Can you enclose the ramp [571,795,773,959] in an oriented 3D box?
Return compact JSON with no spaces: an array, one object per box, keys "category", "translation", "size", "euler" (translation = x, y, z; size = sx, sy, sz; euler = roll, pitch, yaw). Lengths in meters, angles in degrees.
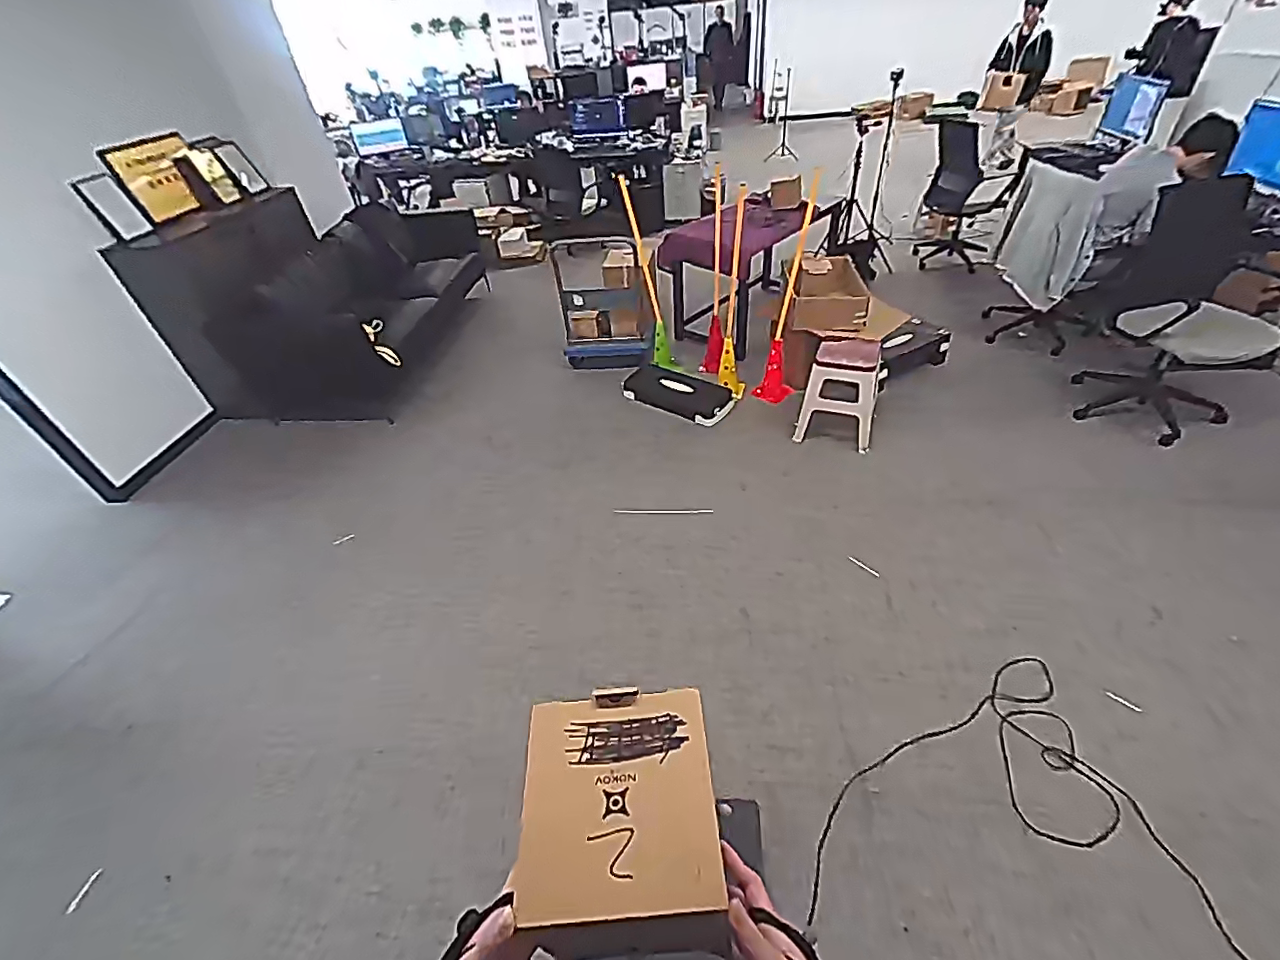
[{"category":"ramp","translation":[0.061,1.218,1.206],"size":[0.509,0.206,0.991],"euler":[-2,40,7]}]
